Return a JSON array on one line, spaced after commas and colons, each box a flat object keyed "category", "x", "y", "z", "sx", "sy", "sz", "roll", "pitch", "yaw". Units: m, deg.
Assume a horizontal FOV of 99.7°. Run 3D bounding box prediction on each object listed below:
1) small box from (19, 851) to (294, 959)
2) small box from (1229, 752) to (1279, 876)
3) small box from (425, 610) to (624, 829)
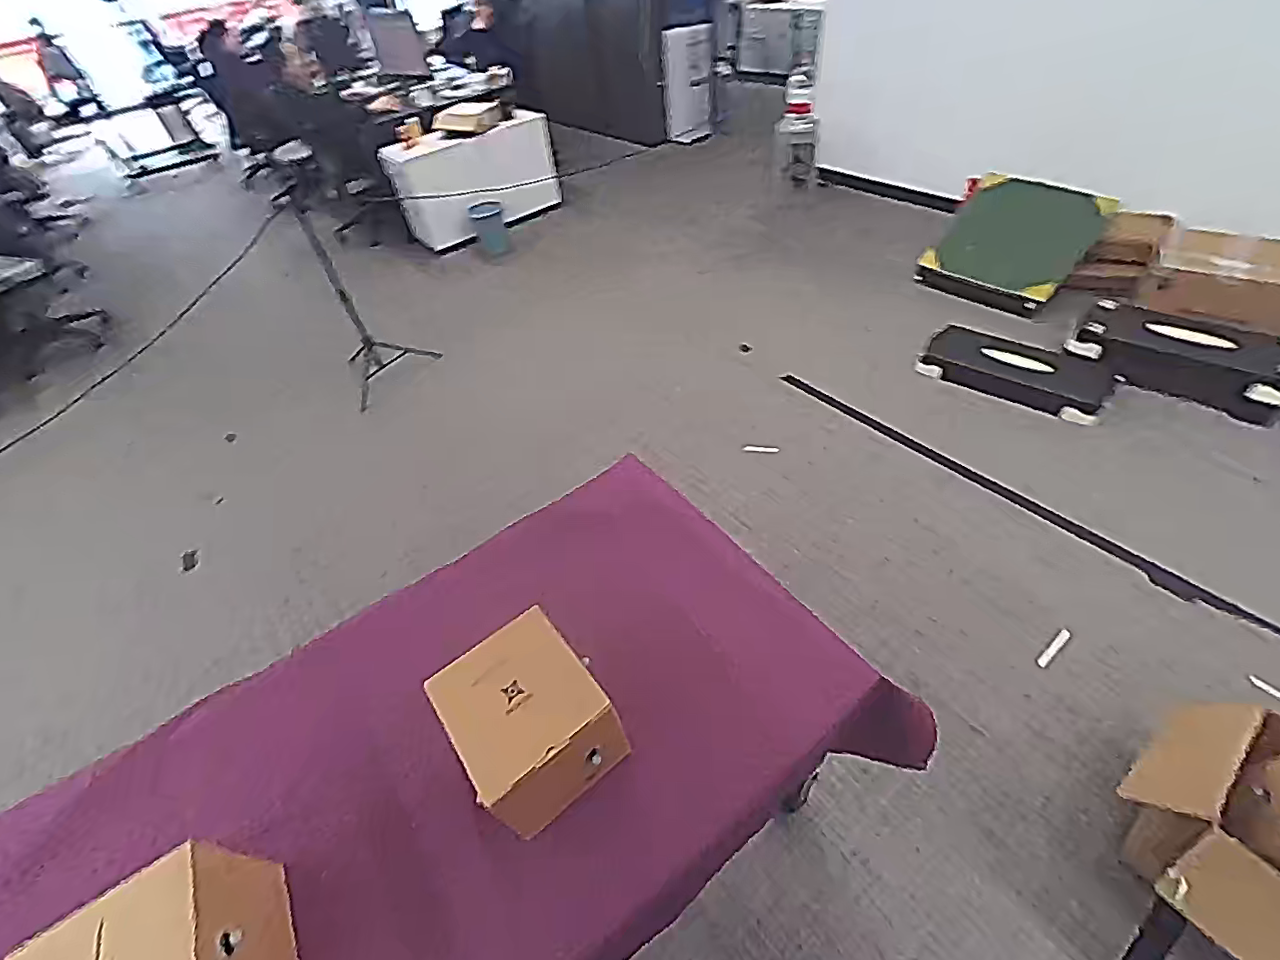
[{"category": "small box", "x": -0.472, "y": 0.522, "z": 0.541, "sx": 0.168, "sy": 0.176, "sz": 0.179, "roll": -30, "pitch": 49, "yaw": -20}, {"category": "small box", "x": 1.199, "y": 0.618, "z": 0.952, "sx": 0.179, "sy": 0.176, "sz": 0.168, "roll": 21, "pitch": 57, "yaw": 22}, {"category": "small box", "x": -0.138, "y": 0.310, "z": 0.691, "sx": 0.168, "sy": 0.176, "sz": 0.179, "roll": -33, "pitch": 50, "yaw": -22}]
